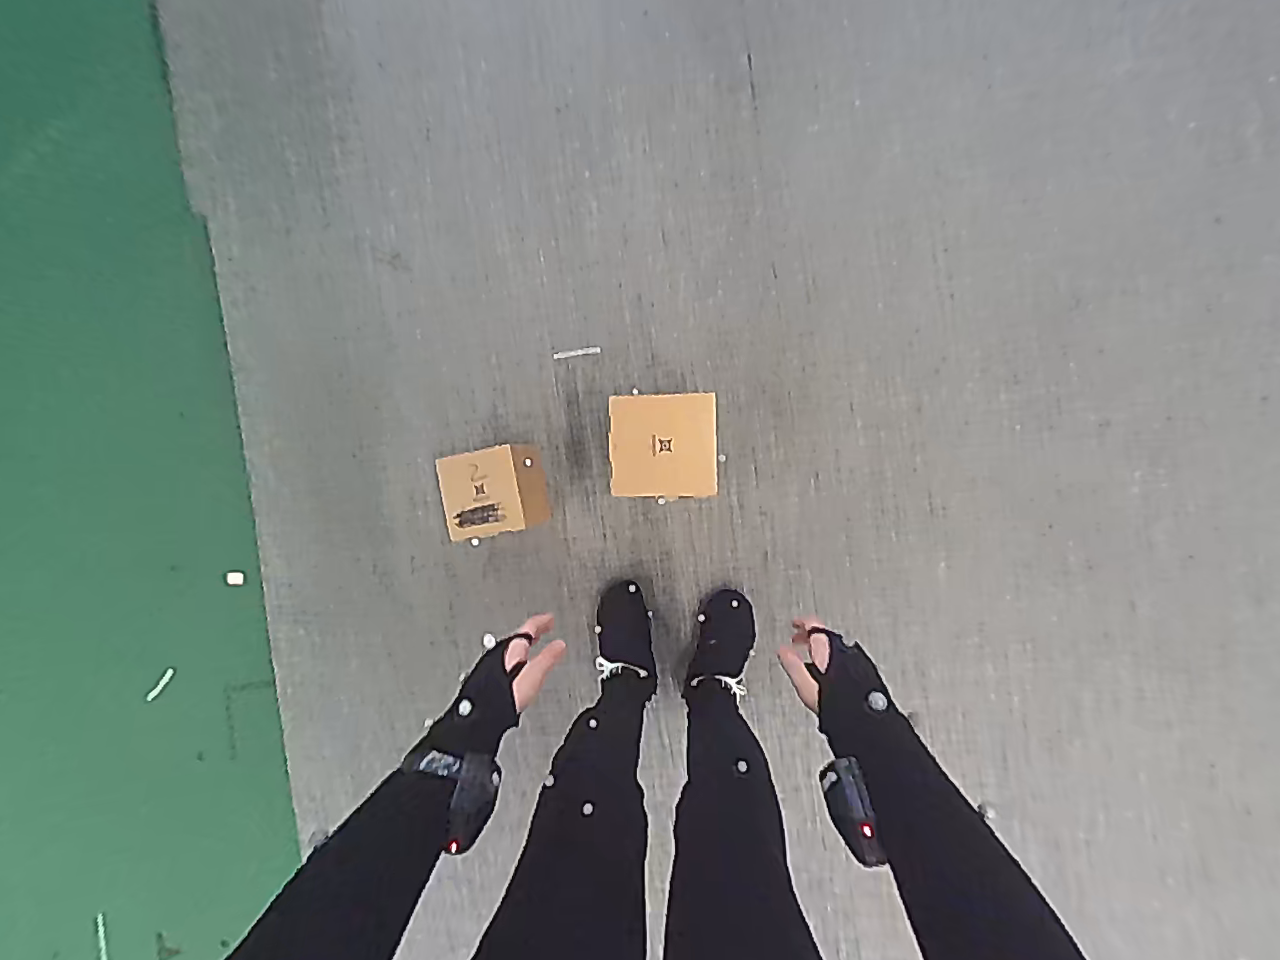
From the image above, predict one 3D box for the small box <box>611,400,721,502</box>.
[{"bbox_3d":[0.051,-0.050,0.950,0.179,0.176,0.168,-2,92,9],"label":"small box"}]
